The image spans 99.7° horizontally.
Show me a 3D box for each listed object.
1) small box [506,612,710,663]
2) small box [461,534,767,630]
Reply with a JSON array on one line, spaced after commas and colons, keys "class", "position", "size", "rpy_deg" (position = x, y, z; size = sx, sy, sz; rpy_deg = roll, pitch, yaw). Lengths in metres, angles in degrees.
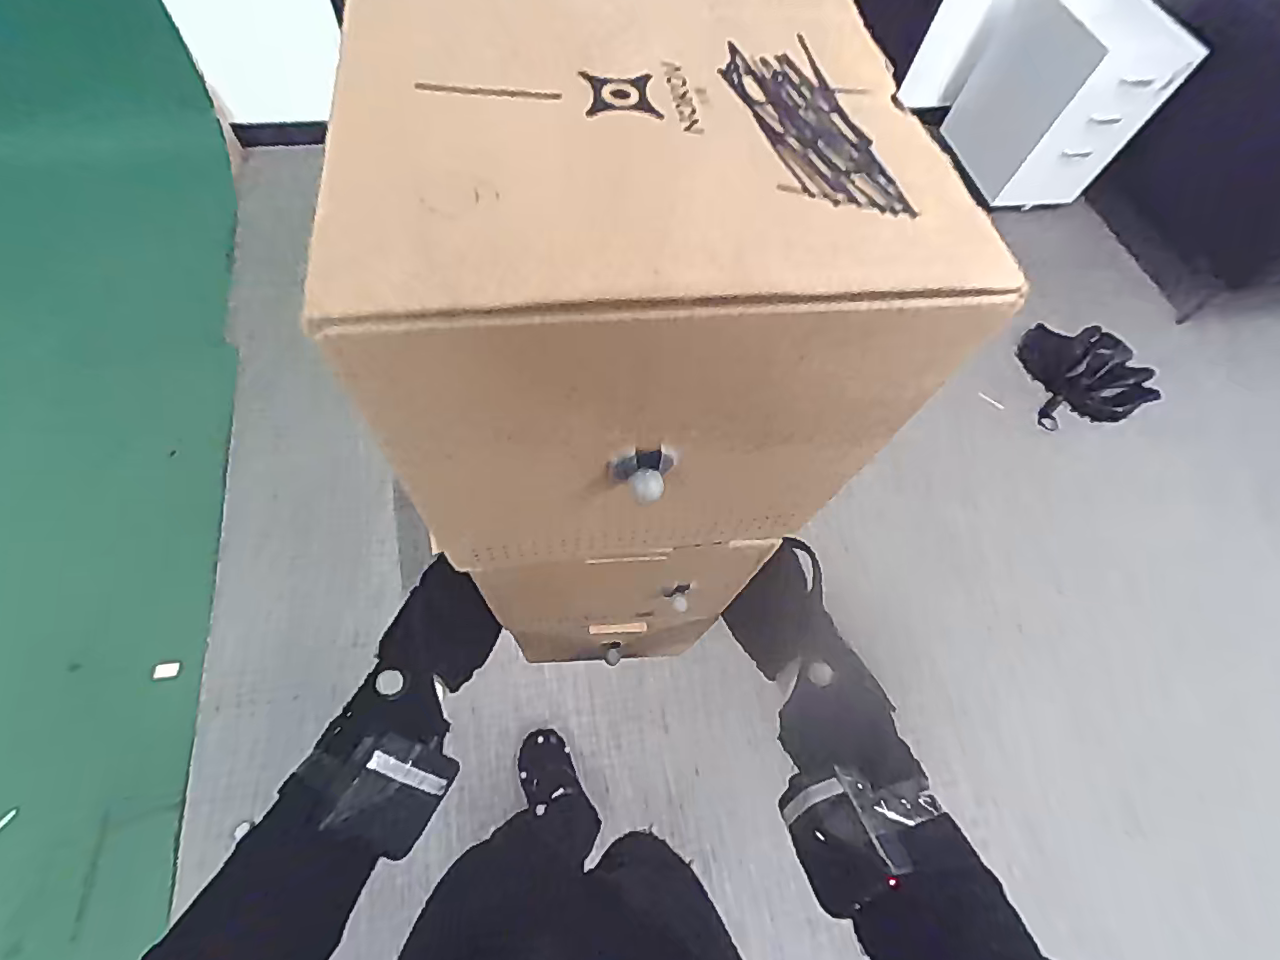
[{"class": "small box", "position": [-0.033, 0.081, 0.533], "size": [0.168, 0.176, 0.179], "rpy_deg": [-1, 63, -6]}, {"class": "small box", "position": [-0.024, 0.005, 0.389], "size": [0.168, 0.176, 0.179], "rpy_deg": [-2, 61, -7]}]
